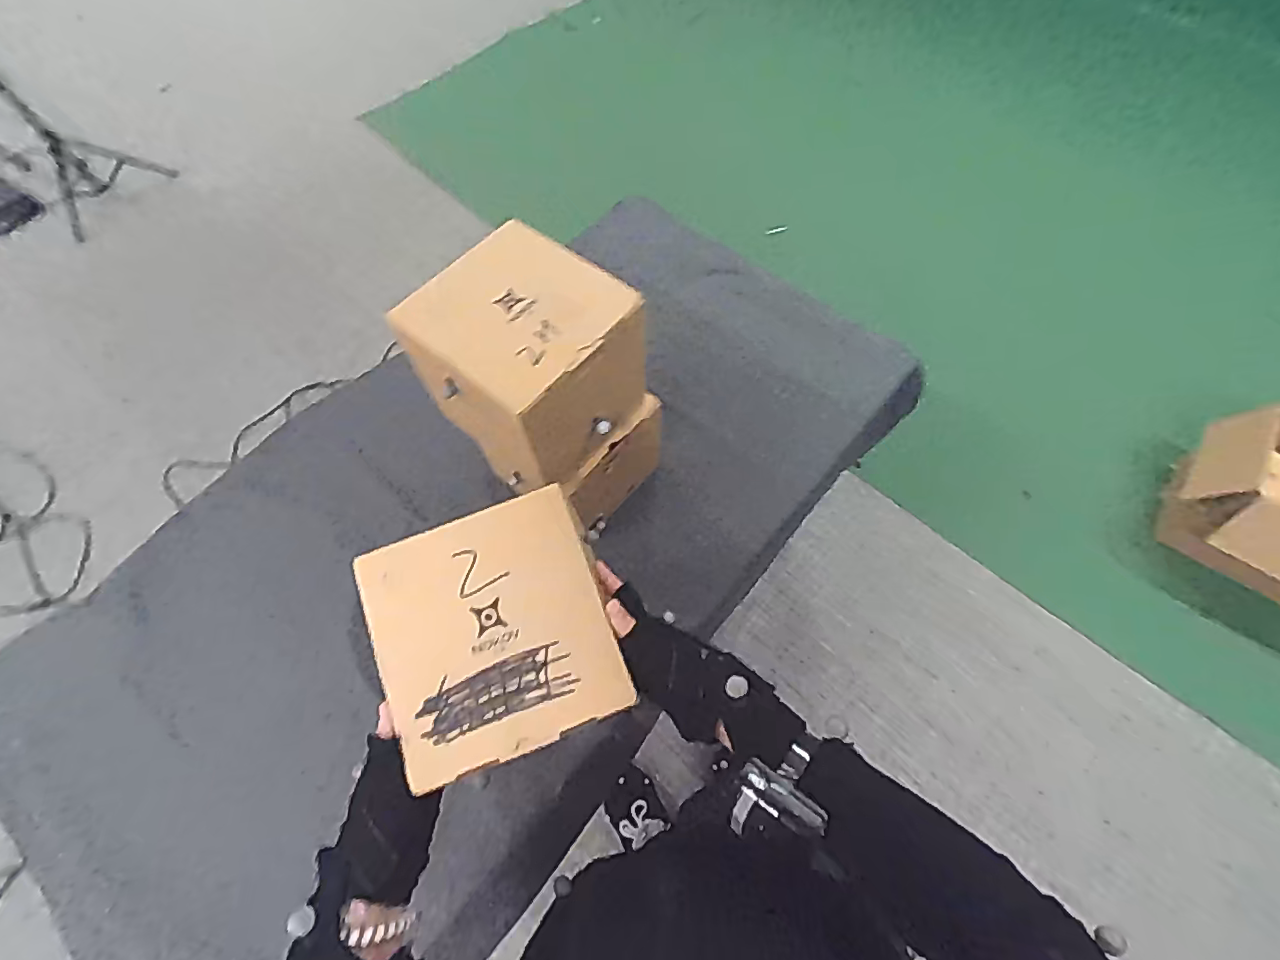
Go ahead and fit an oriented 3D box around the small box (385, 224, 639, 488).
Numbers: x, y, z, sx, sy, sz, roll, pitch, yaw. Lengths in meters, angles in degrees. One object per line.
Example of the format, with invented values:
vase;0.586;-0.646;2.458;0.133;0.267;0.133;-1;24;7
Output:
small box;-0.118;-0.120;0.567;0.179;0.176;0.168;36;70;16

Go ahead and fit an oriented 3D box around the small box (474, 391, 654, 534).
small box;-0.096;-0.049;0.714;0.179;0.176;0.168;37;70;18
